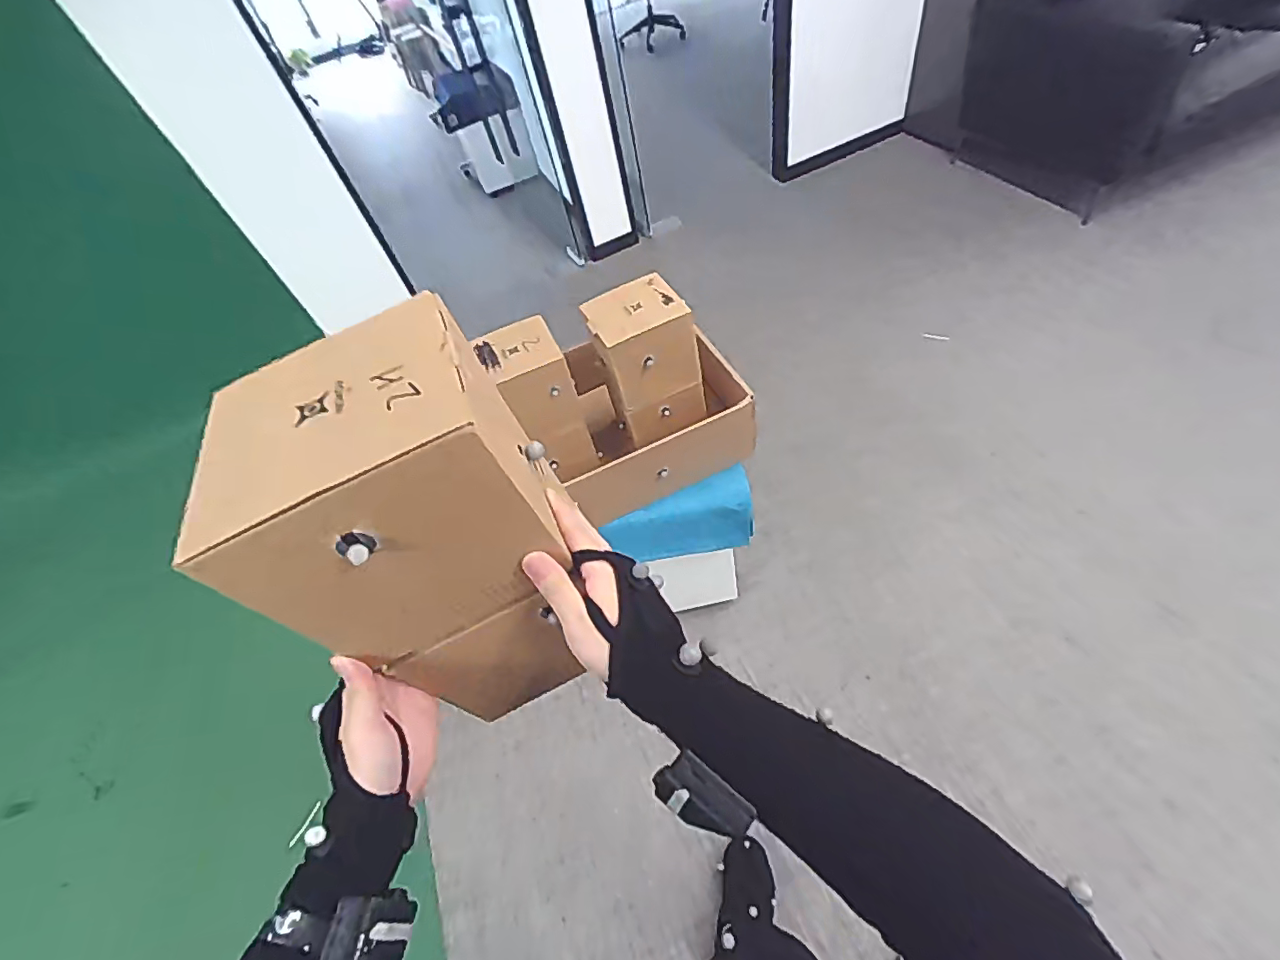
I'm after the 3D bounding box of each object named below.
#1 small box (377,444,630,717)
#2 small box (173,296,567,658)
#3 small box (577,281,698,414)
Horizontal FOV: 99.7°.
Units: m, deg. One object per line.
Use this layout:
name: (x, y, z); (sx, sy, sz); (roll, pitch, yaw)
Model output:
small box: (-0.132, 0.104, 0.533); (0.179, 0.176, 0.168); (-27, 49, -3)
small box: (-0.178, 0.003, 0.402); (0.179, 0.176, 0.168); (-26, 50, -4)
small box: (-0.001, -0.263, 1.095); (0.179, 0.176, 0.168); (-26, 52, -5)
